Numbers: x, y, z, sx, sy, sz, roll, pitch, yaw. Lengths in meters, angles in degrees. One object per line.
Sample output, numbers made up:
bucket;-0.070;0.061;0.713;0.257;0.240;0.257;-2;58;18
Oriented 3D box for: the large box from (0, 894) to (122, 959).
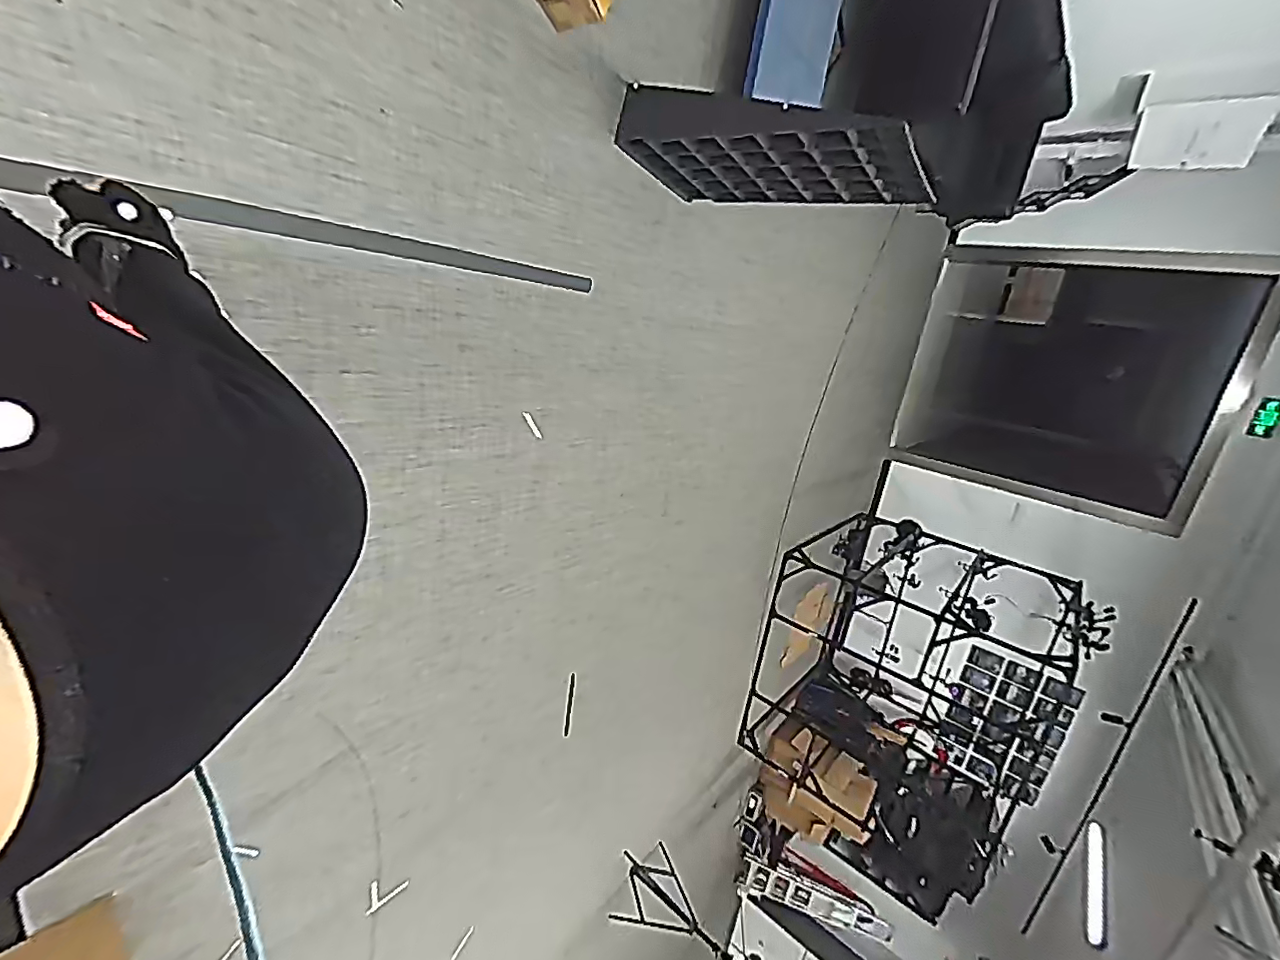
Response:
large box;-1.399;1.257;1.182;0.408;0.320;0.320;-11;116;-50
